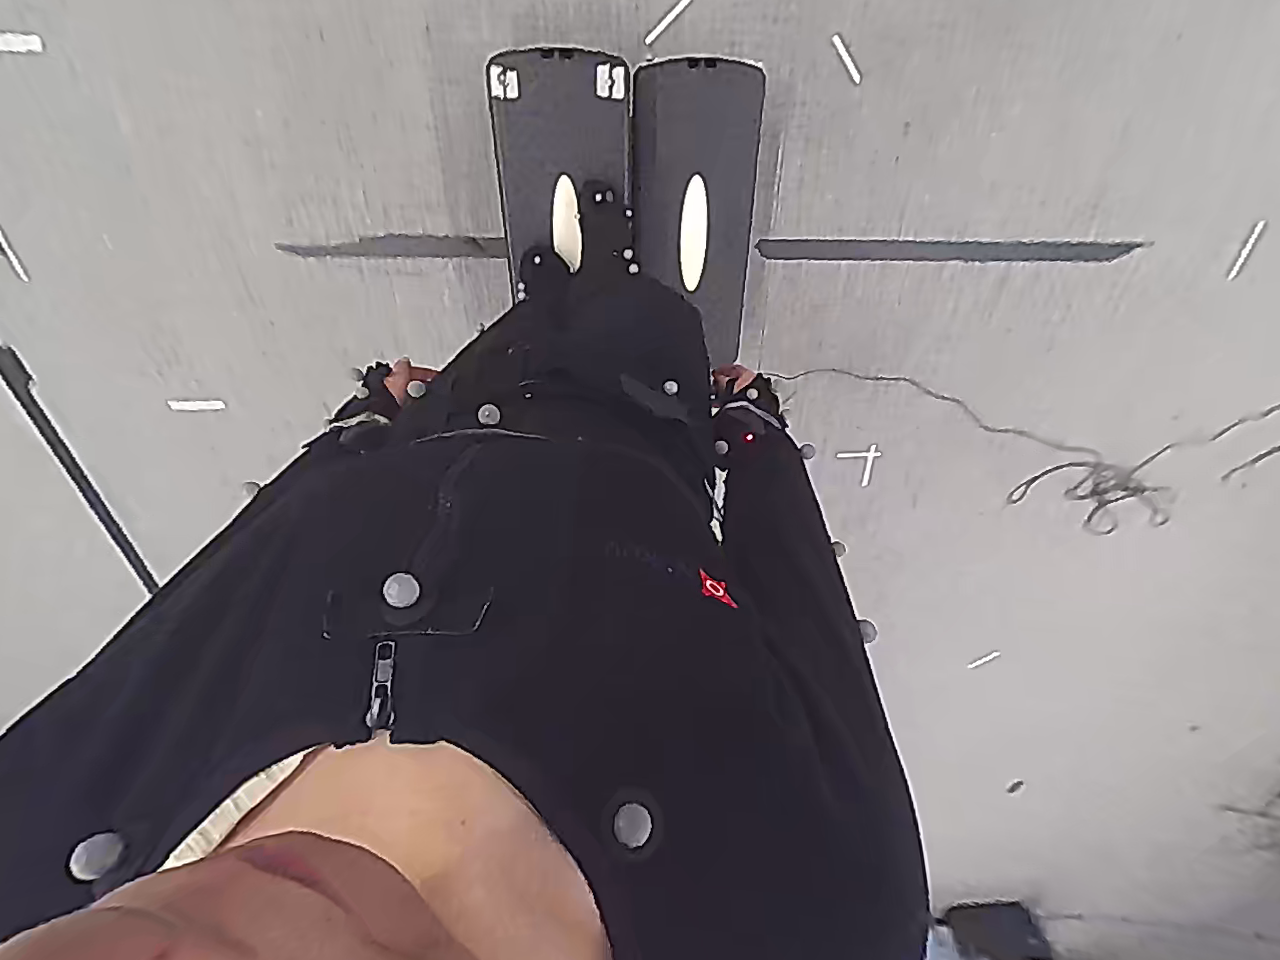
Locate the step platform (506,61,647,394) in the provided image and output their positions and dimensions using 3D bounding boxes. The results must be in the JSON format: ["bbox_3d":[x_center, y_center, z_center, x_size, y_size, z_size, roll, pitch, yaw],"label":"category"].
[{"bbox_3d":[-0.149,-0.544,1.258,0.286,0.204,0.684,2,119,-4],"label":"step platform"}]
